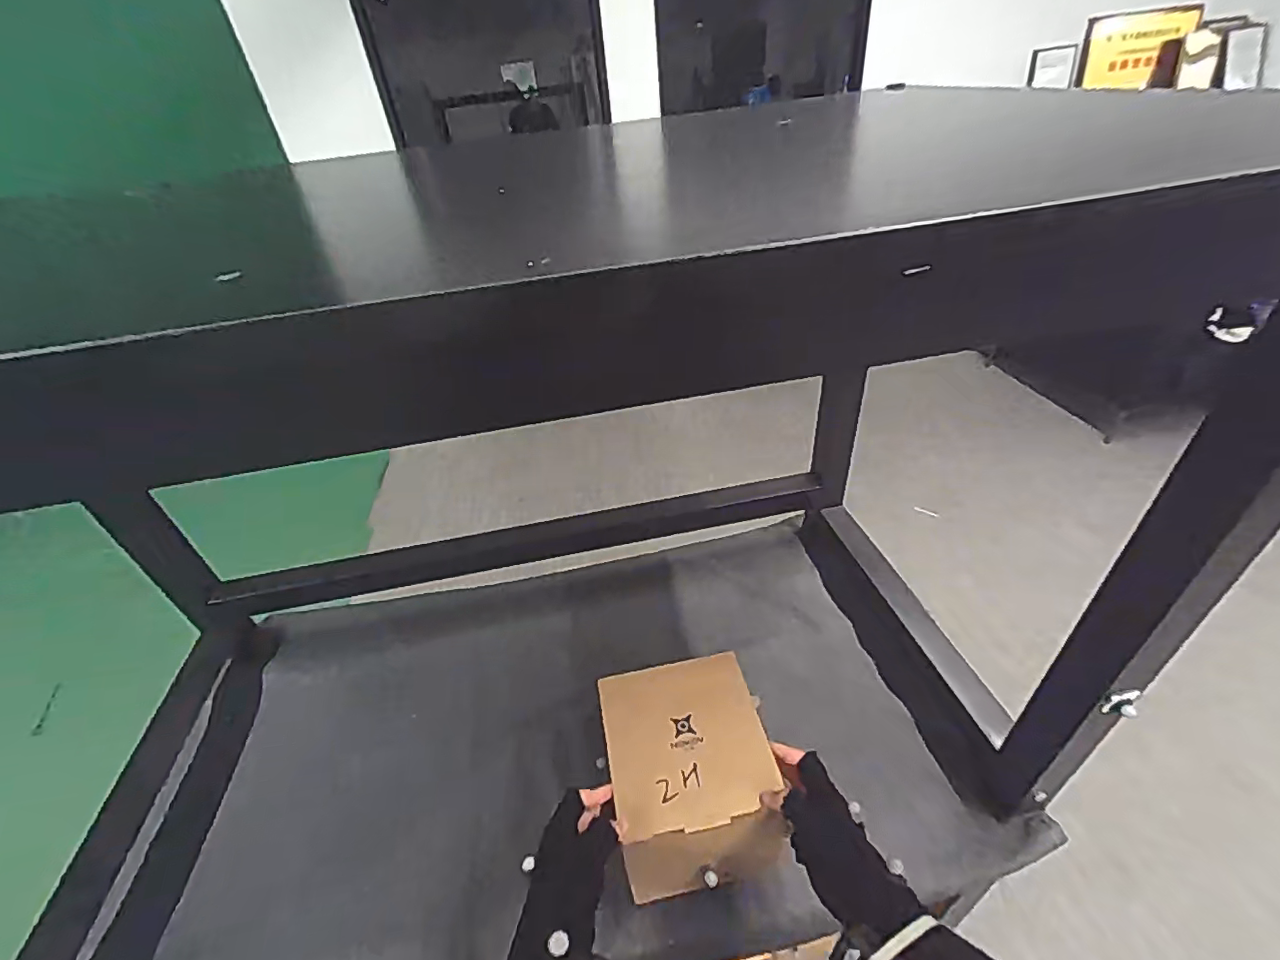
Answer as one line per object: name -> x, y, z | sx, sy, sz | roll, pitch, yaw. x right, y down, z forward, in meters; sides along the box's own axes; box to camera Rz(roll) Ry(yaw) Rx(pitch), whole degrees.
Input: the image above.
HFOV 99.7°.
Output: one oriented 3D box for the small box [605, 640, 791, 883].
small box -> 0.056, 0.318, 0.620 | 0.168, 0.176, 0.179 | -10, 37, -5
